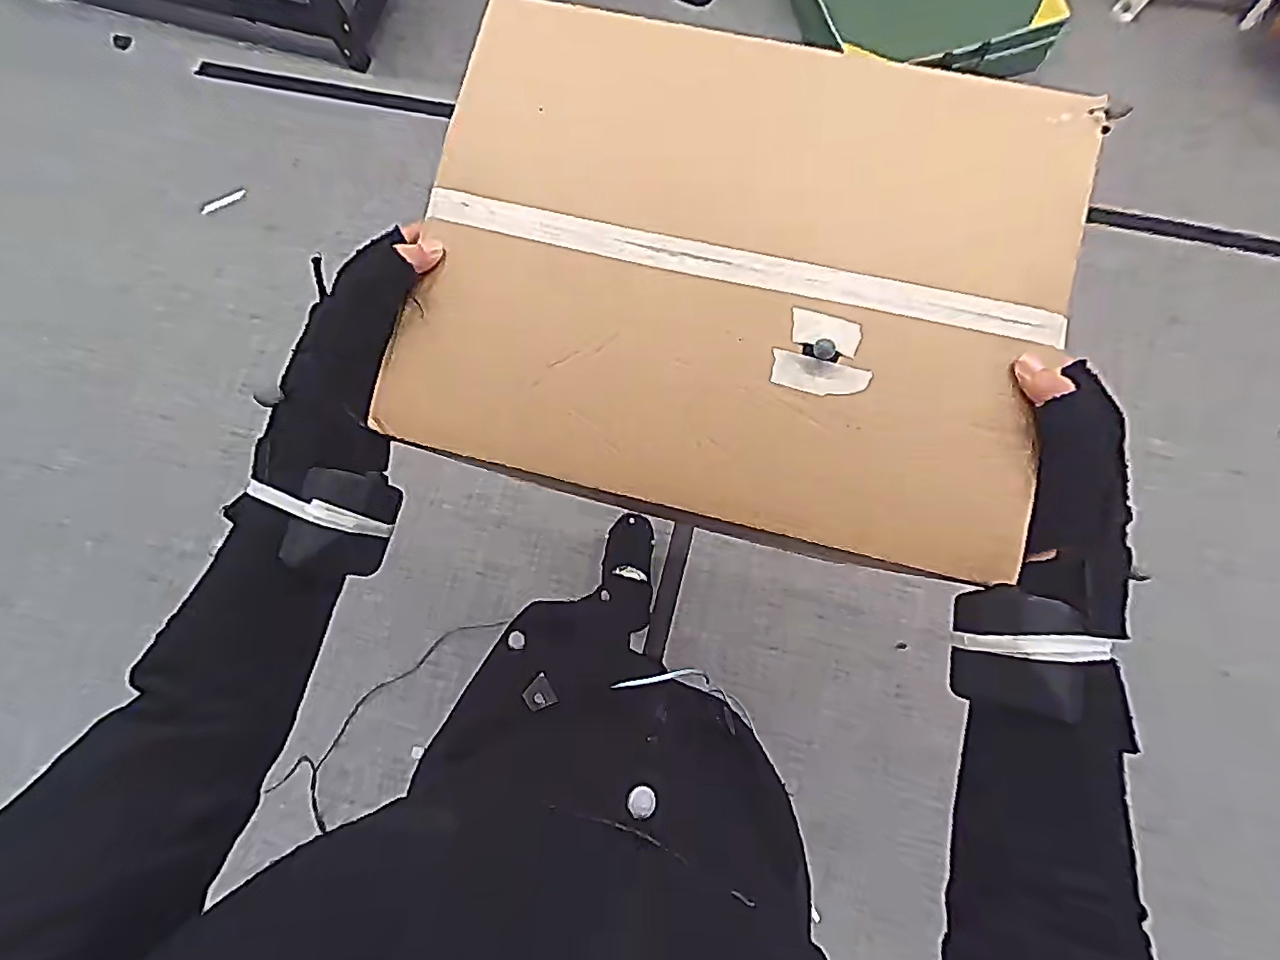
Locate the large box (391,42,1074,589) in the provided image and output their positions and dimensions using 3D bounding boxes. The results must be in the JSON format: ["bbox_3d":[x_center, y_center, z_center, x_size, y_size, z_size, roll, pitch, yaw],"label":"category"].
[{"bbox_3d":[0.066,-0.108,0.504,0.408,0.320,0.320,14,86,4],"label":"large box"}]
